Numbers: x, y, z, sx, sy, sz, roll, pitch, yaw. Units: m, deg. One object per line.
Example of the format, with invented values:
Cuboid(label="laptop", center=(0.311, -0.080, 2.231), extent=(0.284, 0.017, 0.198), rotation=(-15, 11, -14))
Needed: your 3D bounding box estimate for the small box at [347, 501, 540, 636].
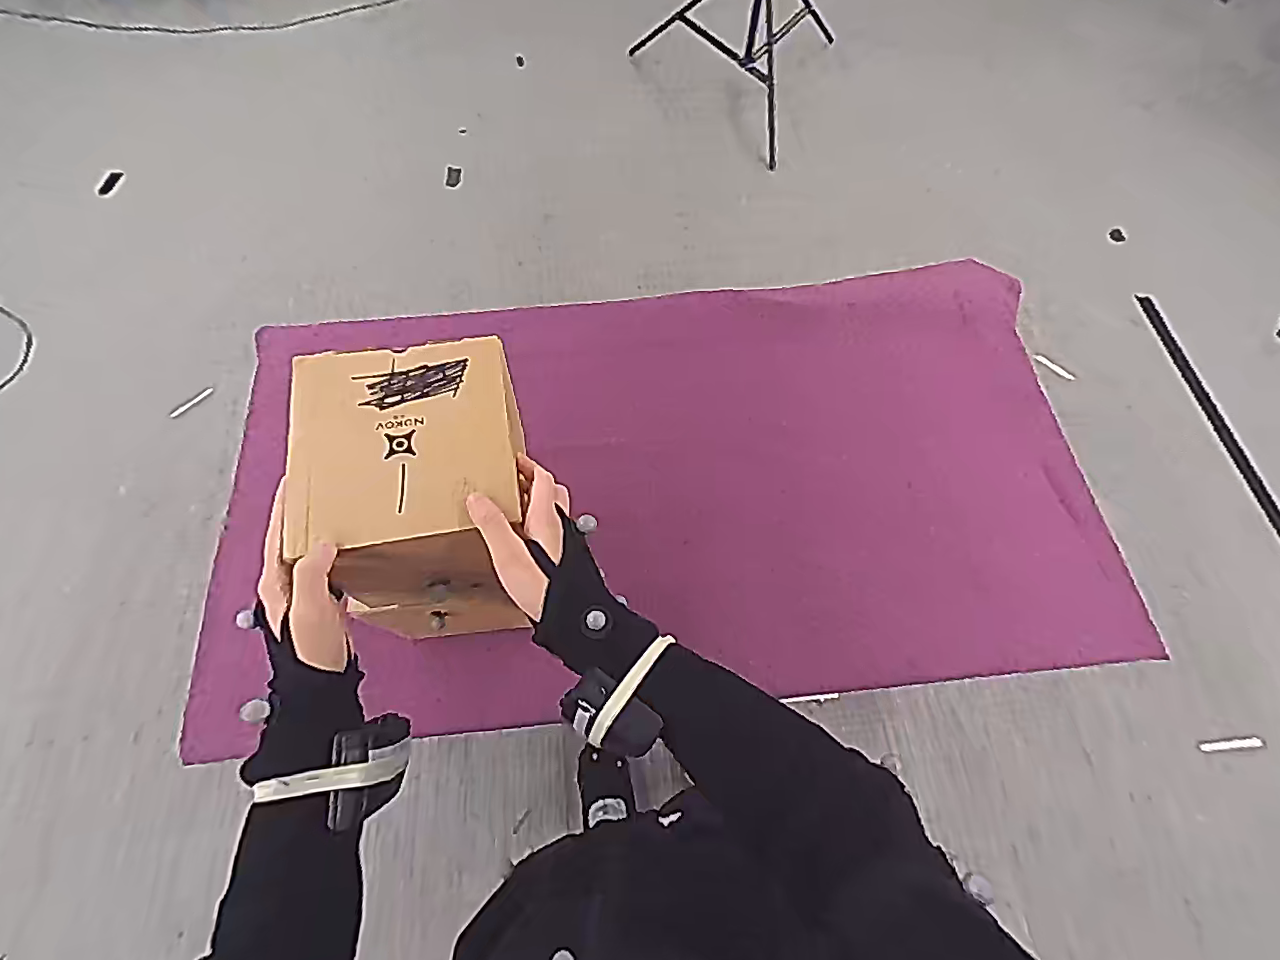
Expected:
Cuboid(label="small box", center=(-0.218, 0.087, 0.652), extent=(0.179, 0.176, 0.168), rotation=(-6, 66, -2))

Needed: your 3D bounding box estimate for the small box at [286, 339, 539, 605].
Cuboid(label="small box", center=(-0.188, 0.000, 0.492), extent=(0.168, 0.176, 0.179), rotation=(-9, 67, -9))
